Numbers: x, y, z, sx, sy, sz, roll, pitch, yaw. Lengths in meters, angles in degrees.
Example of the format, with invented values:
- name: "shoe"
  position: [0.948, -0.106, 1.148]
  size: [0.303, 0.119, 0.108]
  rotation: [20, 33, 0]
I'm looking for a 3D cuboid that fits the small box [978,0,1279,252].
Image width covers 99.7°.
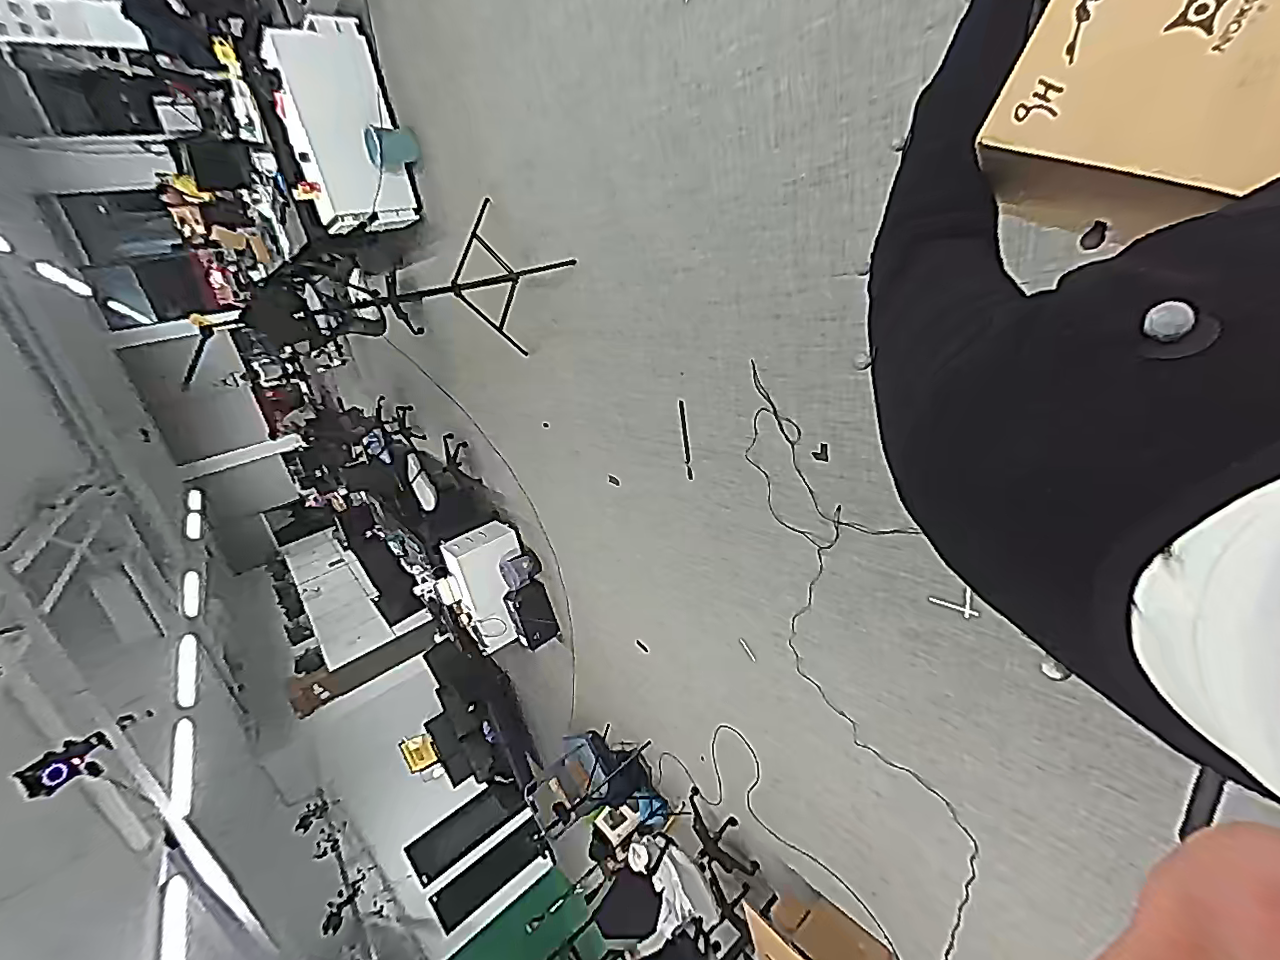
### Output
- name: "small box"
  position: [0.371, -0.272, 0.369]
  size: [0.179, 0.176, 0.168]
  rotation: [34, 115, 28]
